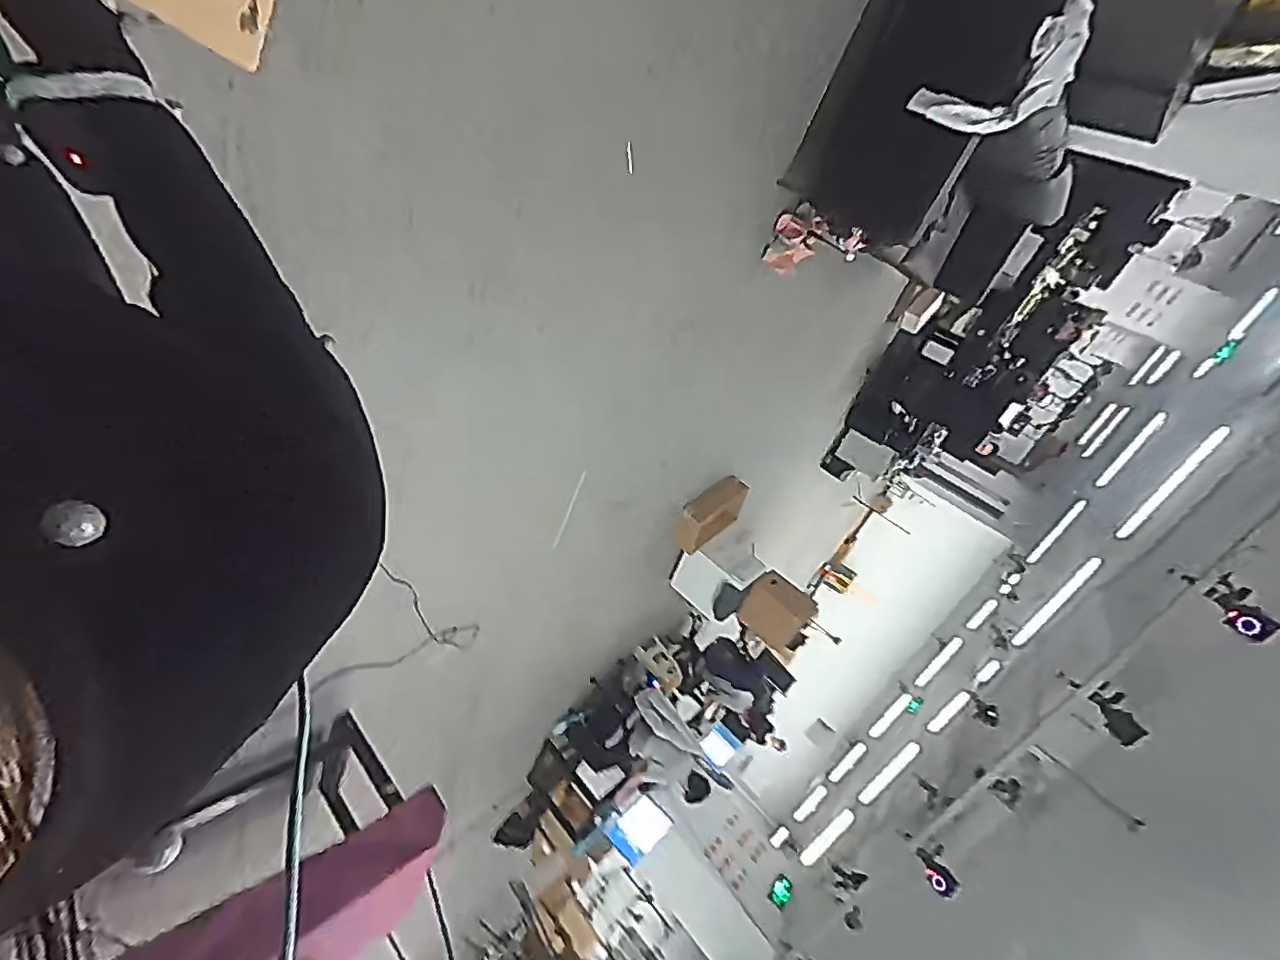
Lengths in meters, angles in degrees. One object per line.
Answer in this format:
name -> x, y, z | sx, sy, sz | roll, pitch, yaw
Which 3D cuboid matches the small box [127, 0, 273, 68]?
small box -> -0.648, -0.734, 0.763 | 0.179, 0.176, 0.168 | 1, 123, -57
